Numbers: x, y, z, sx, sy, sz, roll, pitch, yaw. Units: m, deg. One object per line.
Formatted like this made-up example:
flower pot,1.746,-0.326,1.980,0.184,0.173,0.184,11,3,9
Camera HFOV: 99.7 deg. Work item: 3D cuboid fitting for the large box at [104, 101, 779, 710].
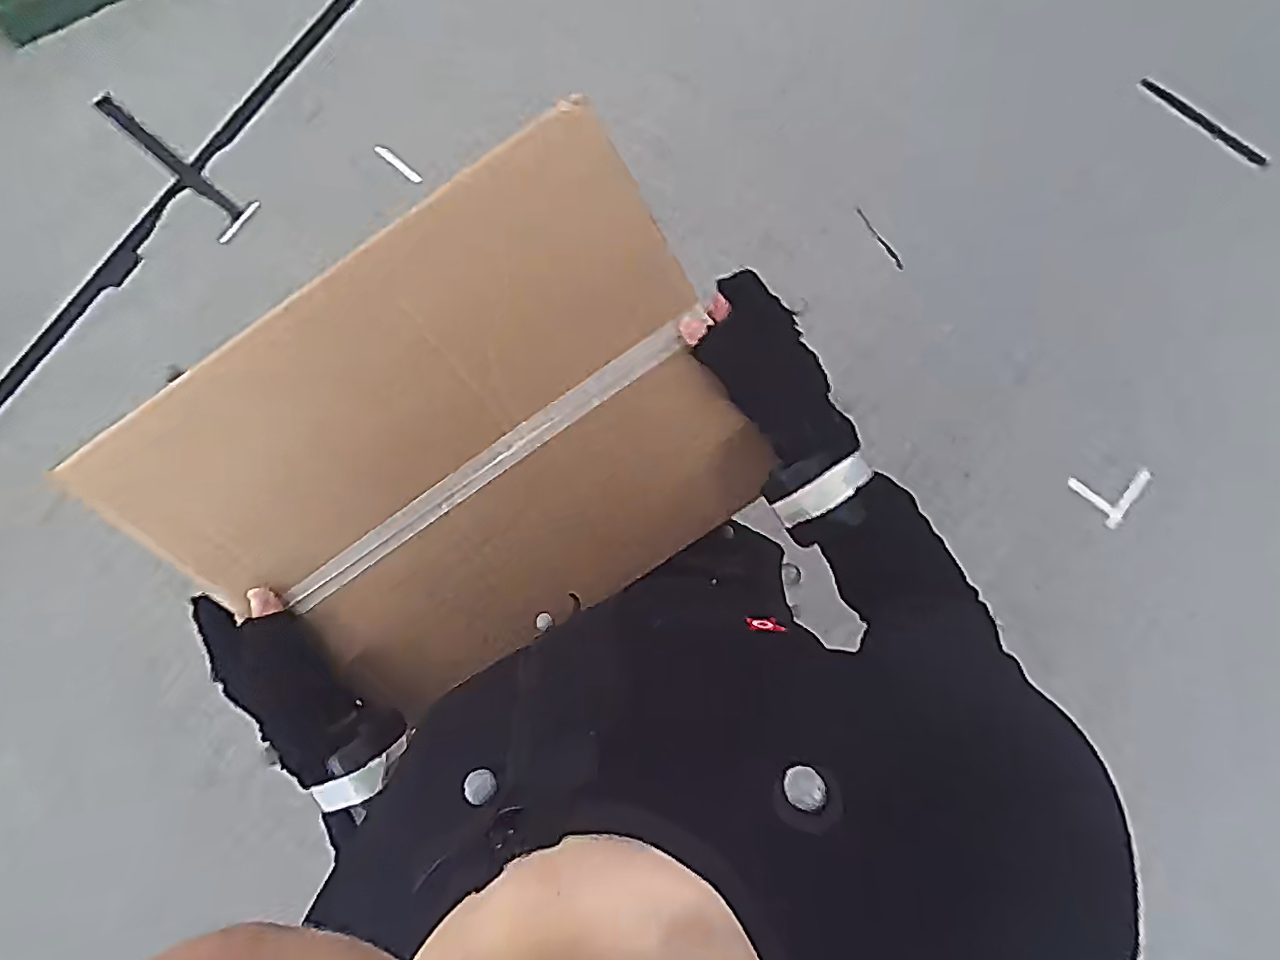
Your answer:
large box,-0.150,-0.069,0.545,0.408,0.320,0.320,-34,116,3
